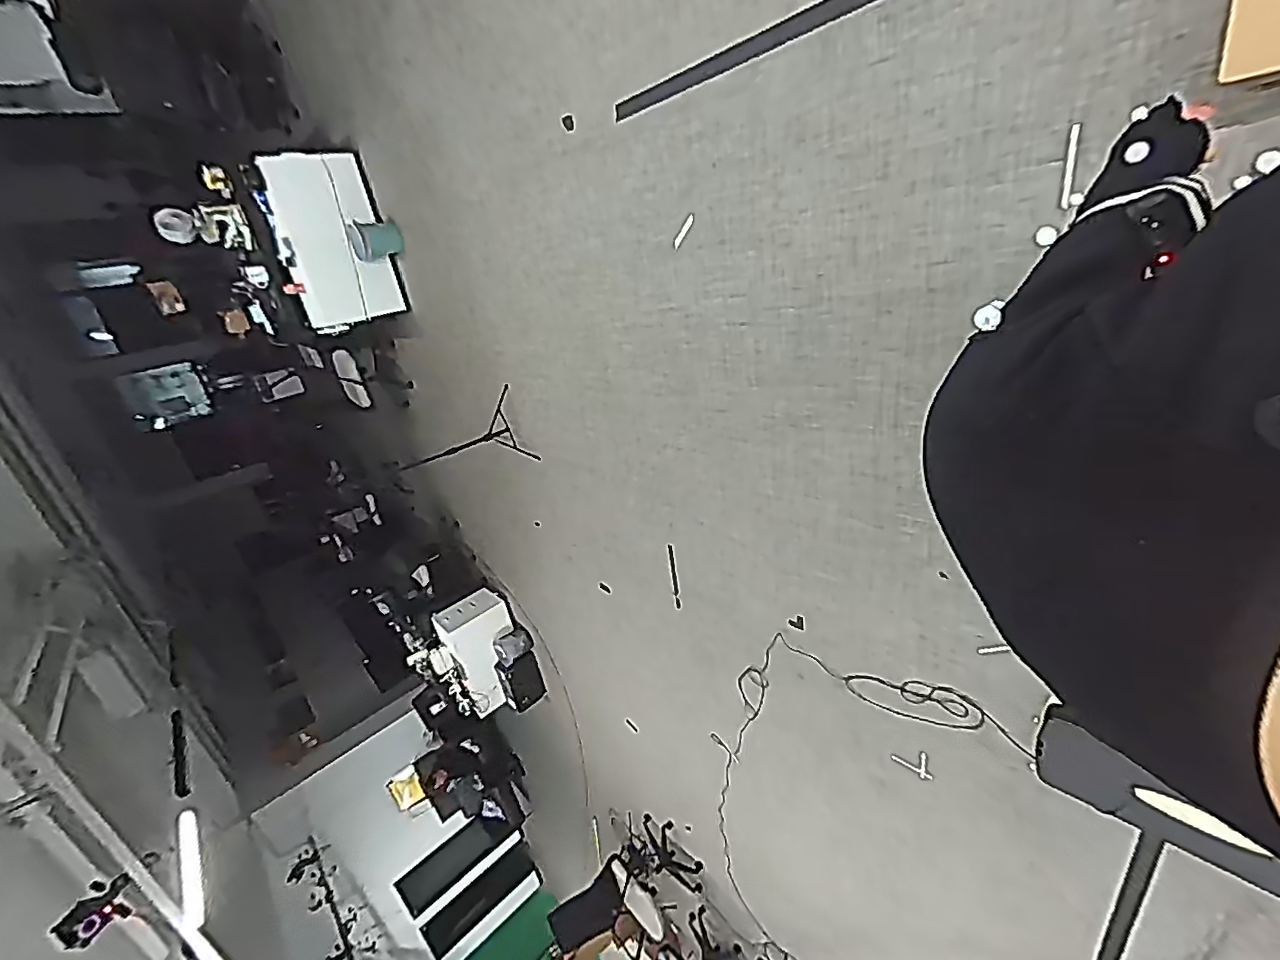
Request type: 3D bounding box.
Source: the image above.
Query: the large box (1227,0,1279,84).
[{"bbox_3d":[0.996,-0.709,0.616,0.408,0.320,0.320,13,124,46],"label":"large box"}]
